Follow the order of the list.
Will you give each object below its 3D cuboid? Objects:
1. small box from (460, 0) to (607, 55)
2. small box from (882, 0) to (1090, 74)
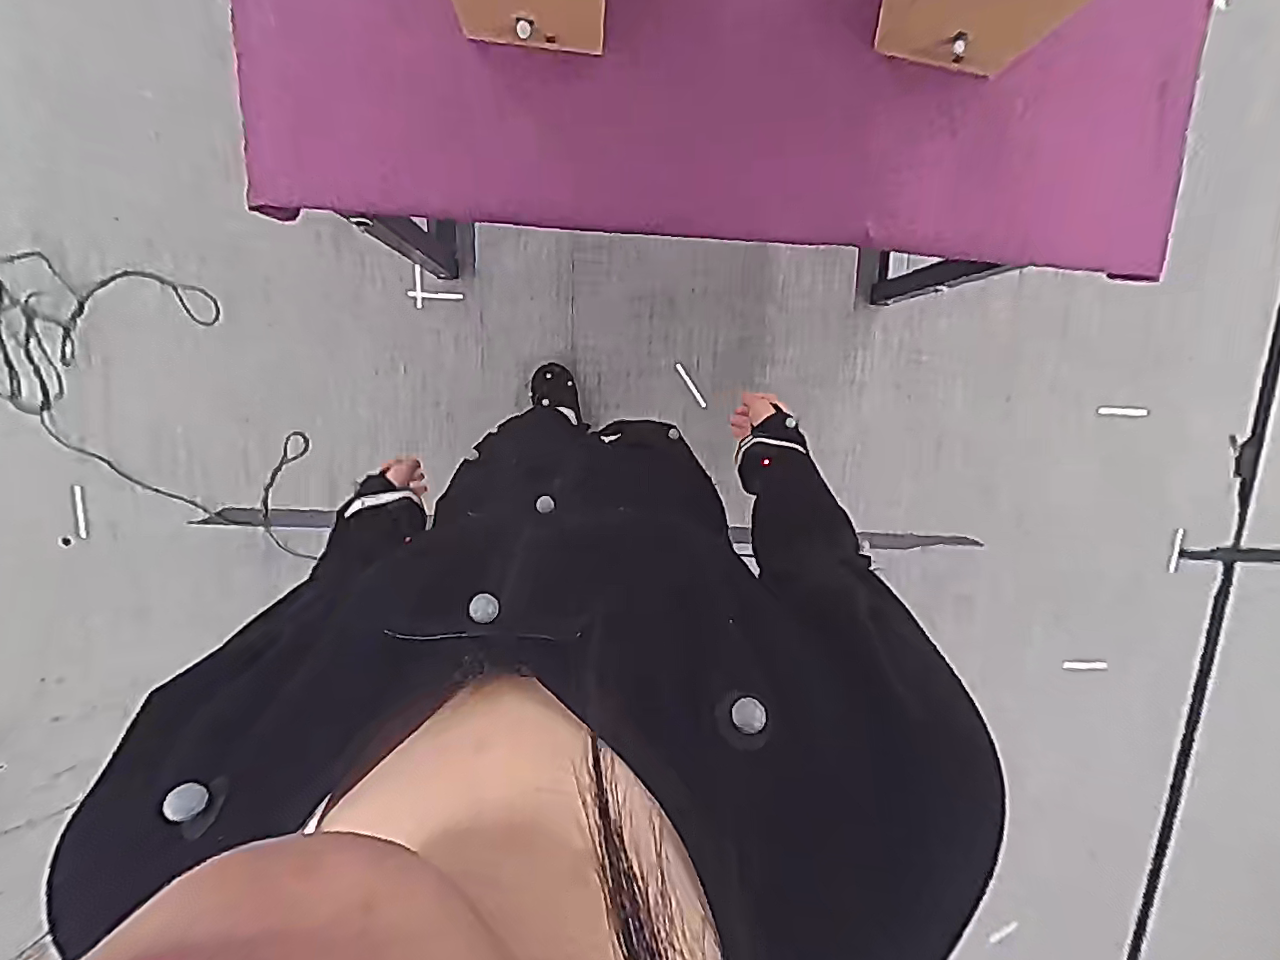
[{"bbox_3d":[-0.112,-0.592,0.556,0.168,0.176,0.179,4,101,-5],"label":"small box"},{"bbox_3d":[0.394,-0.599,0.593,0.168,0.176,0.179,8,100,-5],"label":"small box"}]
